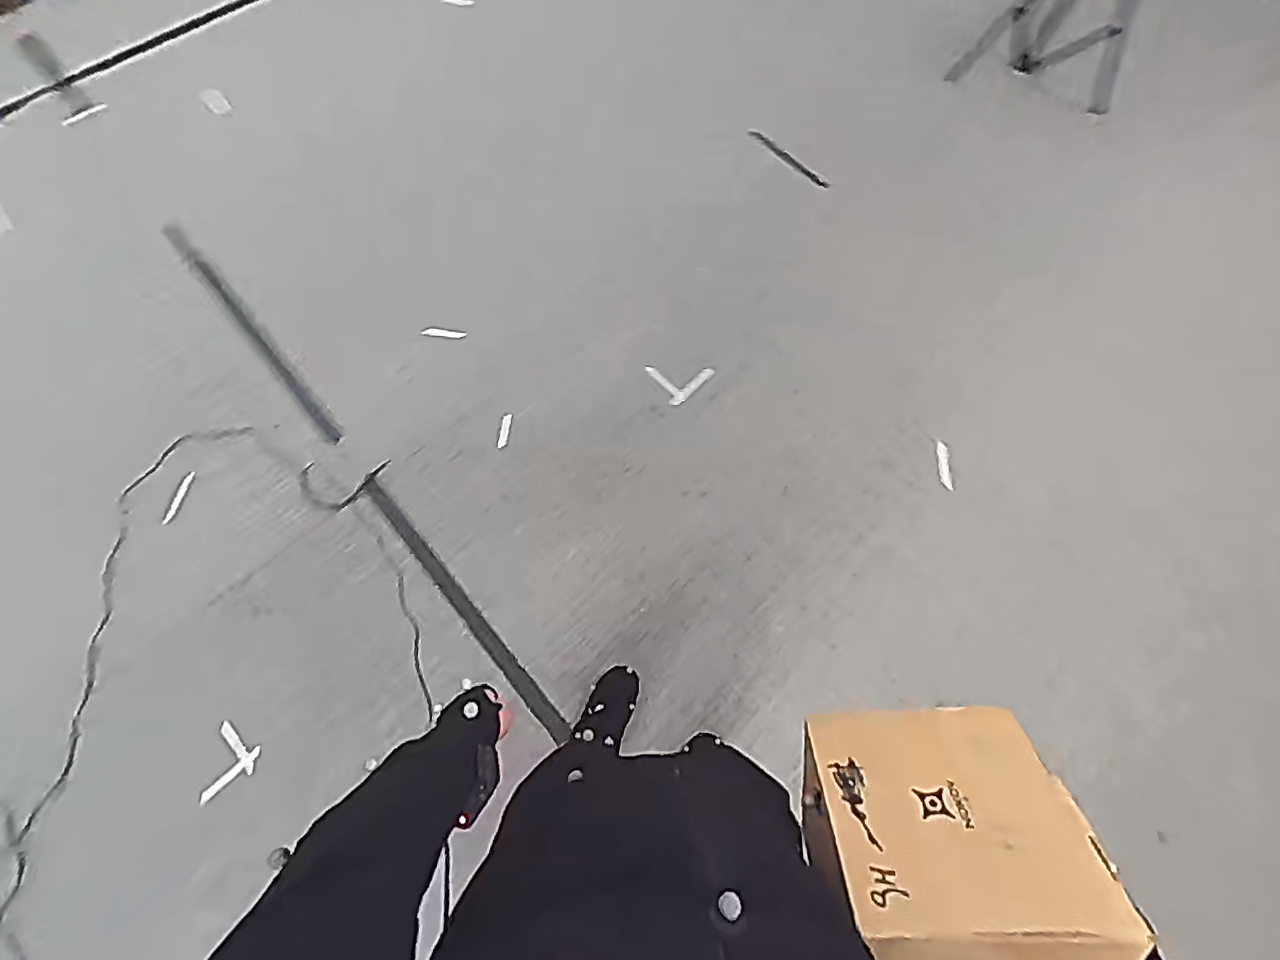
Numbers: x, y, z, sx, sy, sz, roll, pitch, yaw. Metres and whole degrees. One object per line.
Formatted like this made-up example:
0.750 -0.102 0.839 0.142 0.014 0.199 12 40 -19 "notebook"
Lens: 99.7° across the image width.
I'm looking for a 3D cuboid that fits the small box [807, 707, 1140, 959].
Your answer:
0.246 0.320 0.456 0.179 0.176 0.168 -6 28 6 "small box"
